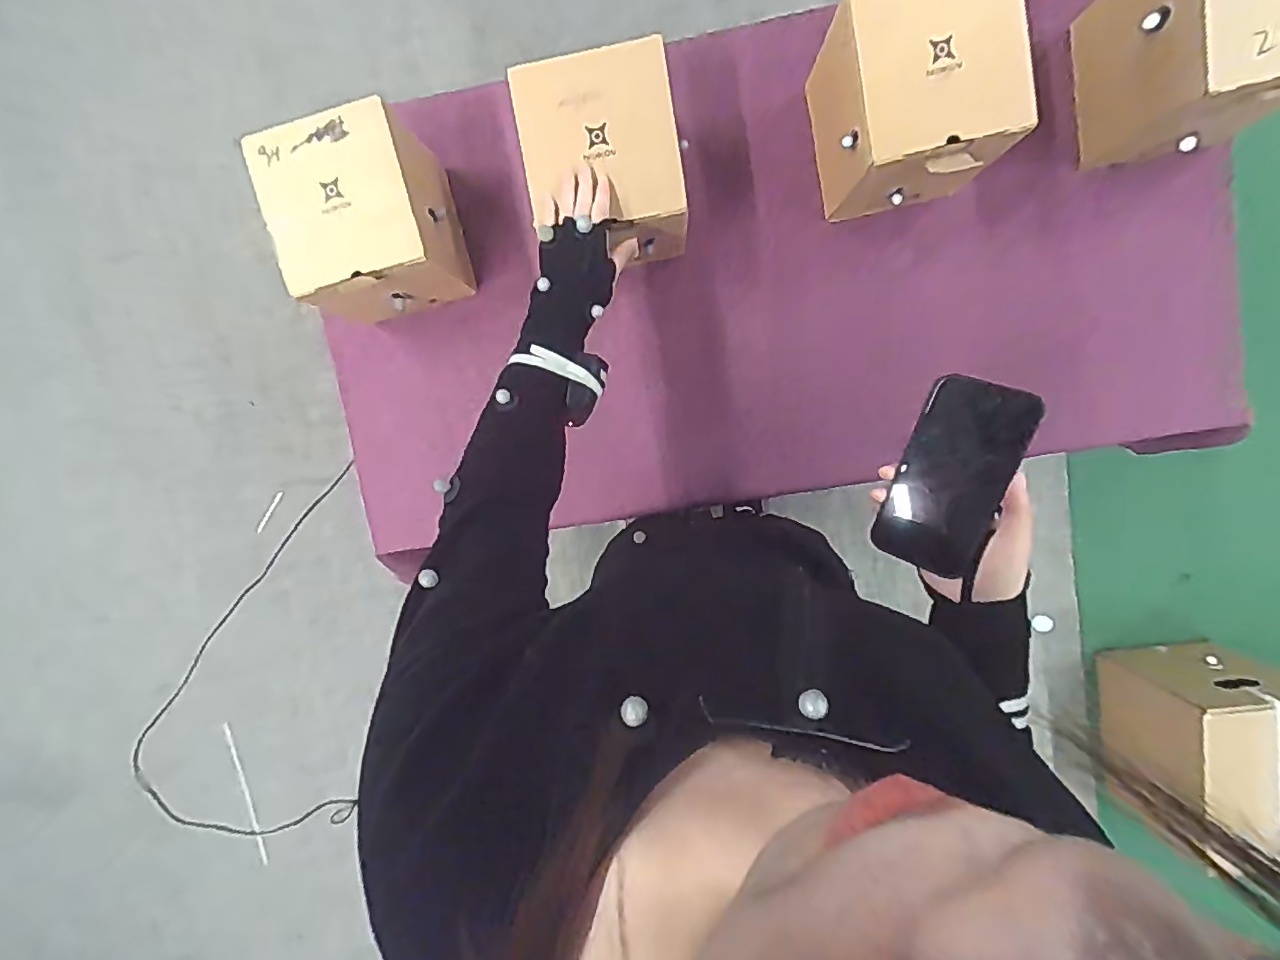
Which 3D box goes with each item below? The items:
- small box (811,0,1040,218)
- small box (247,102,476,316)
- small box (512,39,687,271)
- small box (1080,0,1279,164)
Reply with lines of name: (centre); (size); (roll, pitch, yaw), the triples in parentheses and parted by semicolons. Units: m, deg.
small box: (0.306, -0.431, 0.614); (0.168, 0.176, 0.179); (-12, 96, 5)
small box: (-0.324, -0.312, 0.669); (0.168, 0.176, 0.179); (-14, 96, 5)
small box: (-0.036, -0.363, 0.645); (0.168, 0.176, 0.179); (-9, 96, 4)
small box: (0.618, -0.481, 0.582); (0.168, 0.176, 0.179); (-9, 96, 6)
